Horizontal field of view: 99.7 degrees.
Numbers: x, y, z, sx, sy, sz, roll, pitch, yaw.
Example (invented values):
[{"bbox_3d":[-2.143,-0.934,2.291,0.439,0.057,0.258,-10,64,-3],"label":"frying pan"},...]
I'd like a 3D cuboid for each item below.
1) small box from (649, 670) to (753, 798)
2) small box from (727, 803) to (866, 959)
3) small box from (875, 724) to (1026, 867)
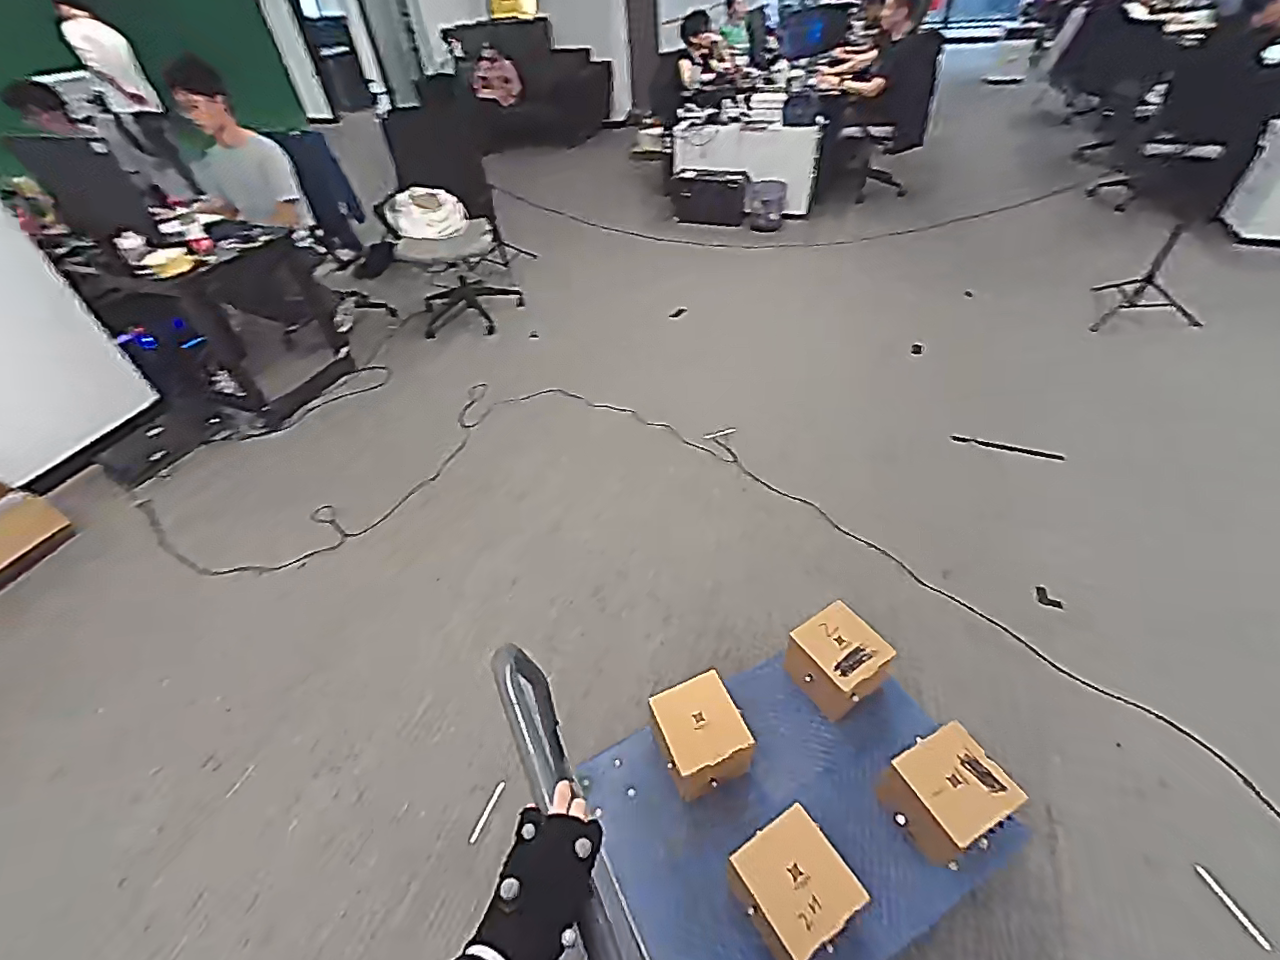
[{"bbox_3d":[0.128,0.559,1.191,0.168,0.176,0.179,-19,47,-14],"label":"small box"},{"bbox_3d":[0.272,0.742,0.987,0.168,0.176,0.179,-25,47,-19],"label":"small box"},{"bbox_3d":[0.602,0.627,1.075,0.179,0.176,0.168,-22,46,-15],"label":"small box"}]
